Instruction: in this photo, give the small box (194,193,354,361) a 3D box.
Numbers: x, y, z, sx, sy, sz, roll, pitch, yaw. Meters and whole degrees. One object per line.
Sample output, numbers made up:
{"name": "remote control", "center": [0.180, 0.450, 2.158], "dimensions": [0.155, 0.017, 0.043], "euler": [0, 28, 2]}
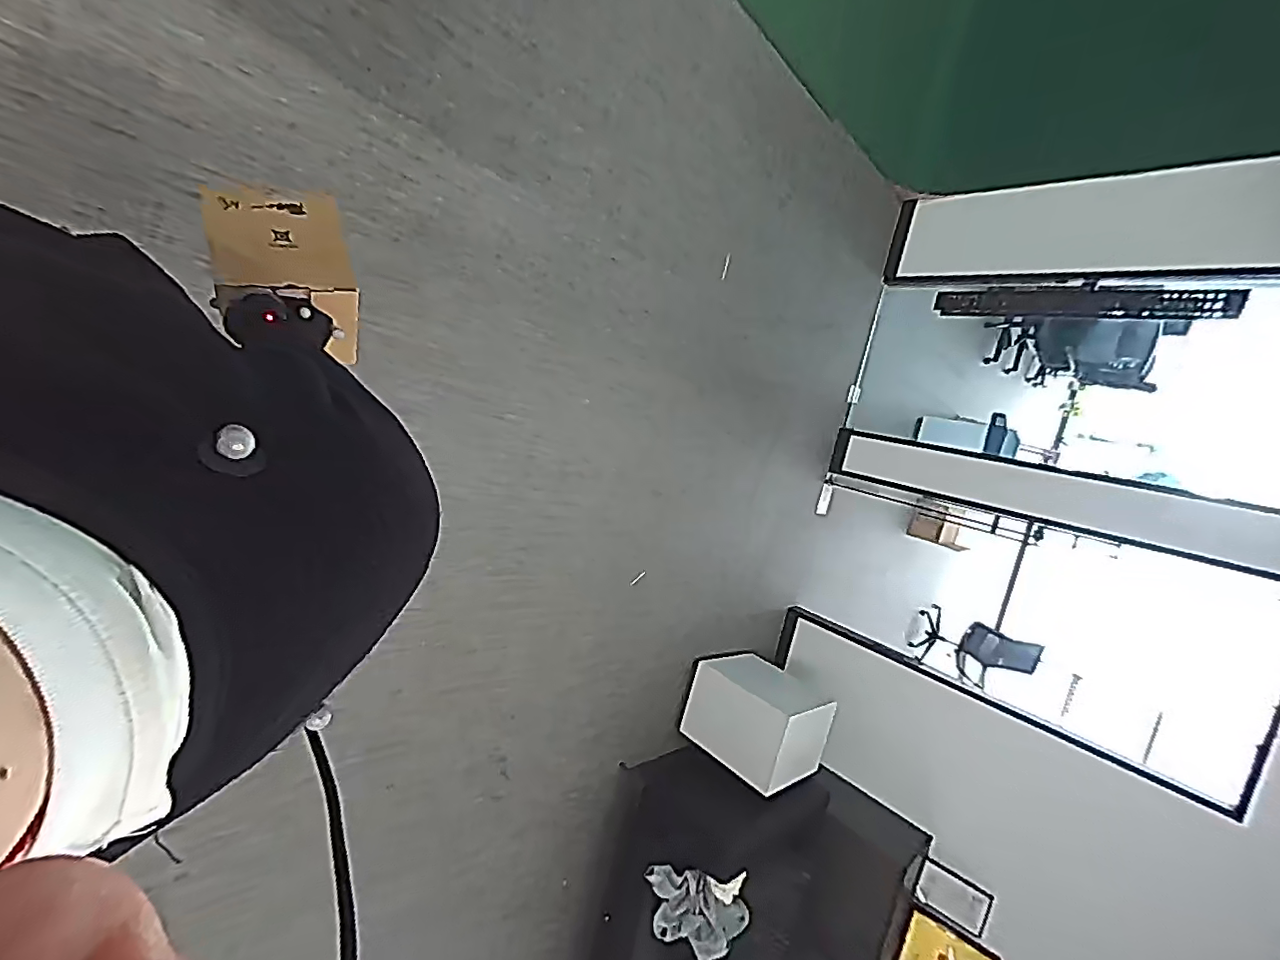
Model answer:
{"name": "small box", "center": [-0.539, -0.293, 0.815], "dimensions": [0.168, 0.176, 0.179], "euler": [-13, 70, -32]}
